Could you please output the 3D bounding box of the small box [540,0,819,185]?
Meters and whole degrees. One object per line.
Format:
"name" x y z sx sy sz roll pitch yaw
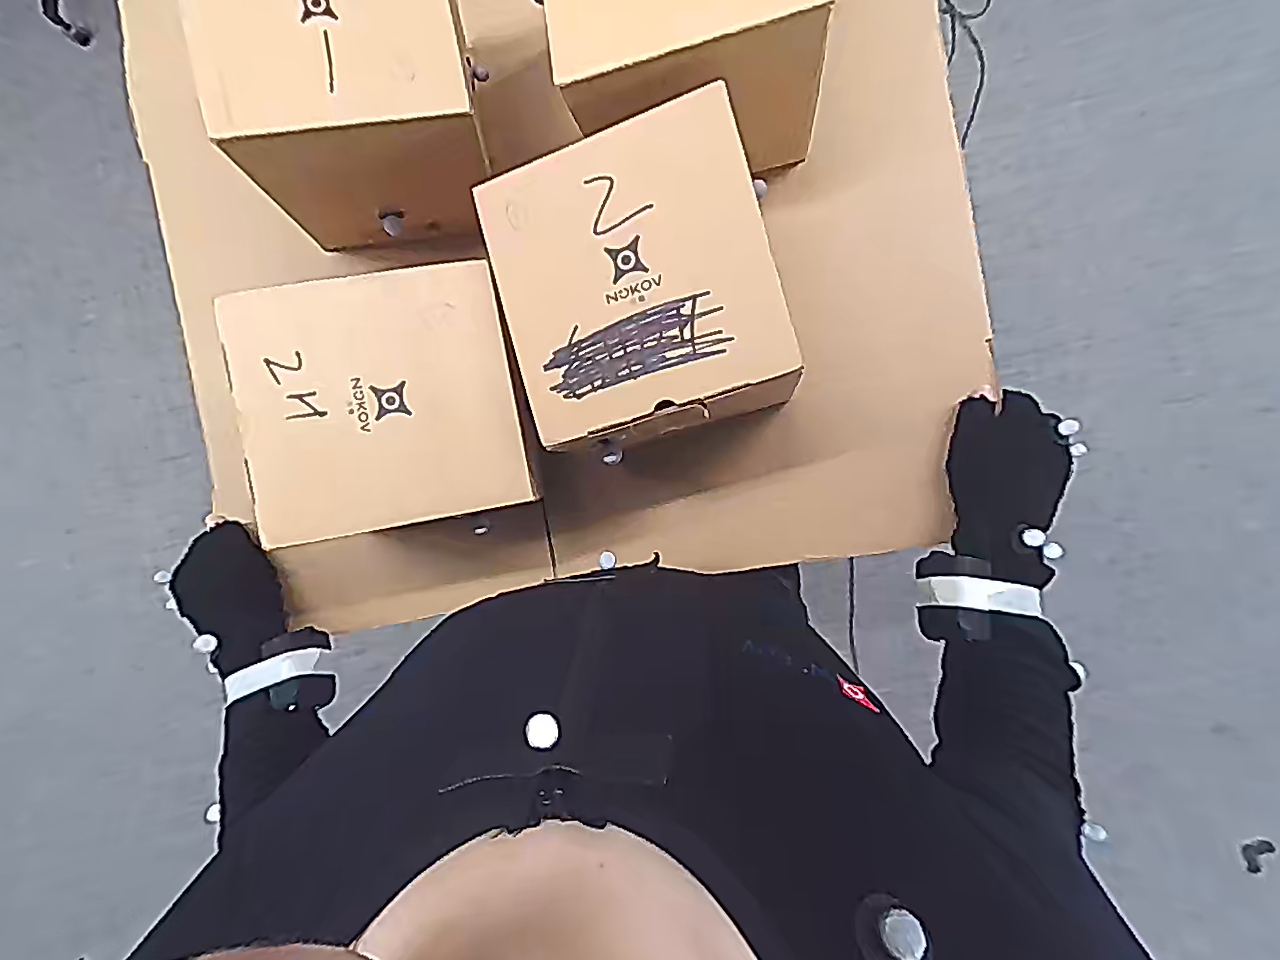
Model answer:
"small box" 0.031 -0.343 0.390 0.168 0.176 0.179 -7 90 12
